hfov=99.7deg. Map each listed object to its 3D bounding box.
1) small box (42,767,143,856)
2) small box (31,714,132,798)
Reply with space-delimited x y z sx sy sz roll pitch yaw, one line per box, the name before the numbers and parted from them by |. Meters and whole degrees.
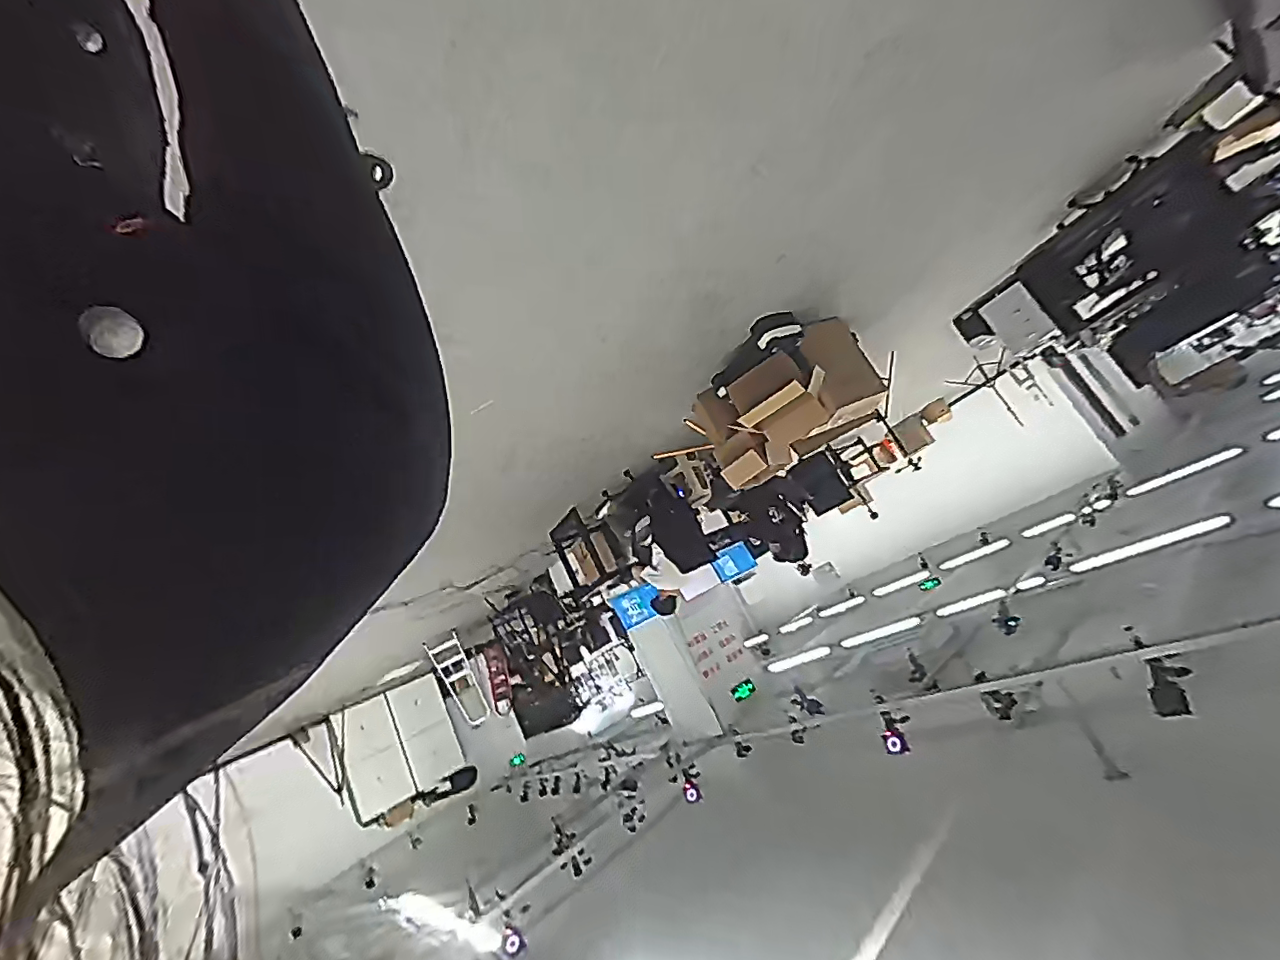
small box | -1.634 0.985 1.617 0.168 0.176 0.179 -17 161 -37
small box | -1.705 0.843 1.655 0.179 0.176 0.168 -15 160 -38
